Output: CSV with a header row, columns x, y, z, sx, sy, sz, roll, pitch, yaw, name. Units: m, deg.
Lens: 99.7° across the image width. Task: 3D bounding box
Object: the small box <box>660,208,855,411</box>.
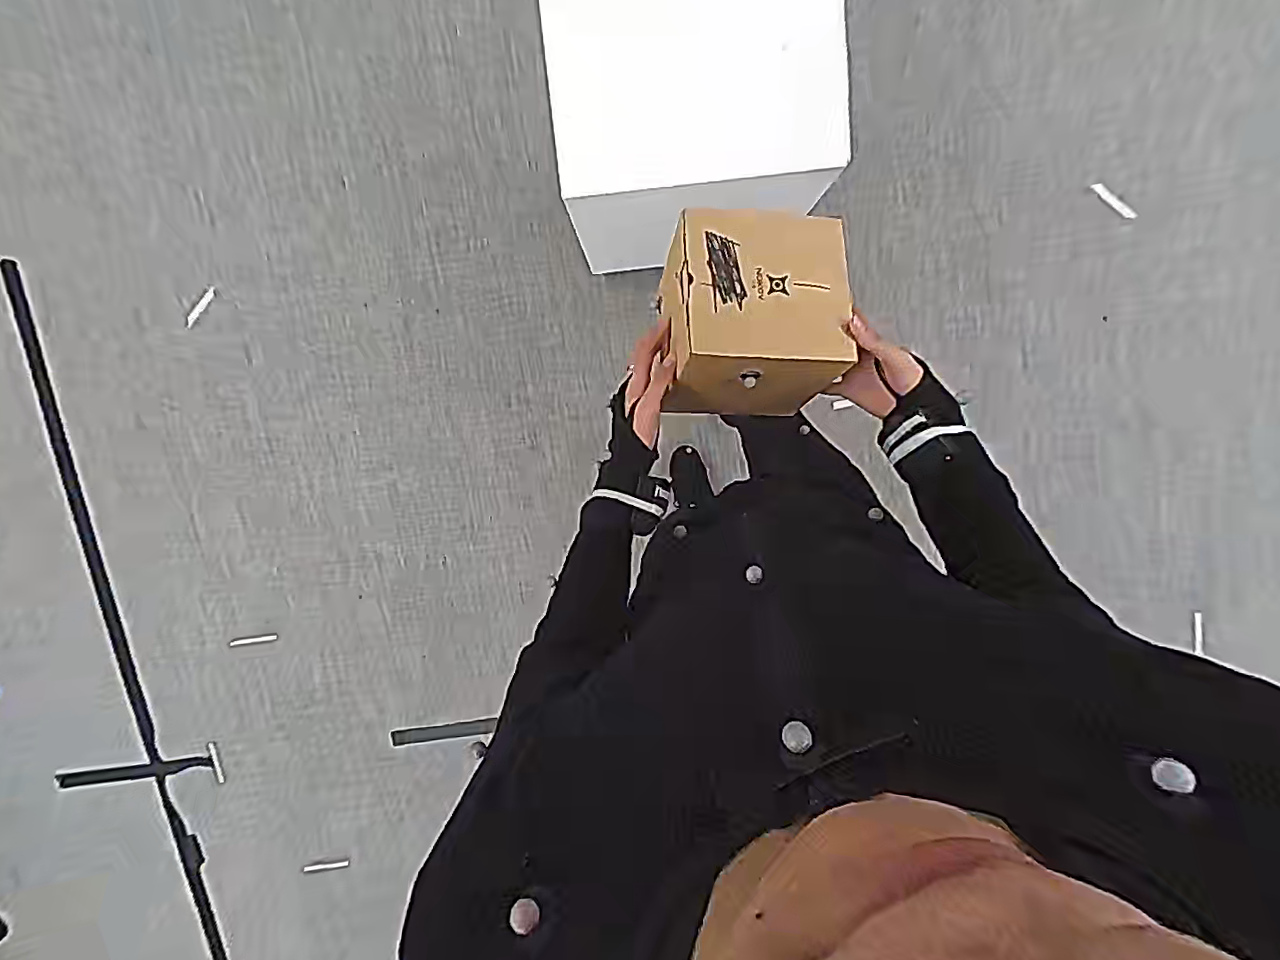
x,y,z,sx,sy,sz,roll,pitch,yaw,name
0.119,-0.184,0.627,0.179,0.176,0.168,0,78,-8,small box
